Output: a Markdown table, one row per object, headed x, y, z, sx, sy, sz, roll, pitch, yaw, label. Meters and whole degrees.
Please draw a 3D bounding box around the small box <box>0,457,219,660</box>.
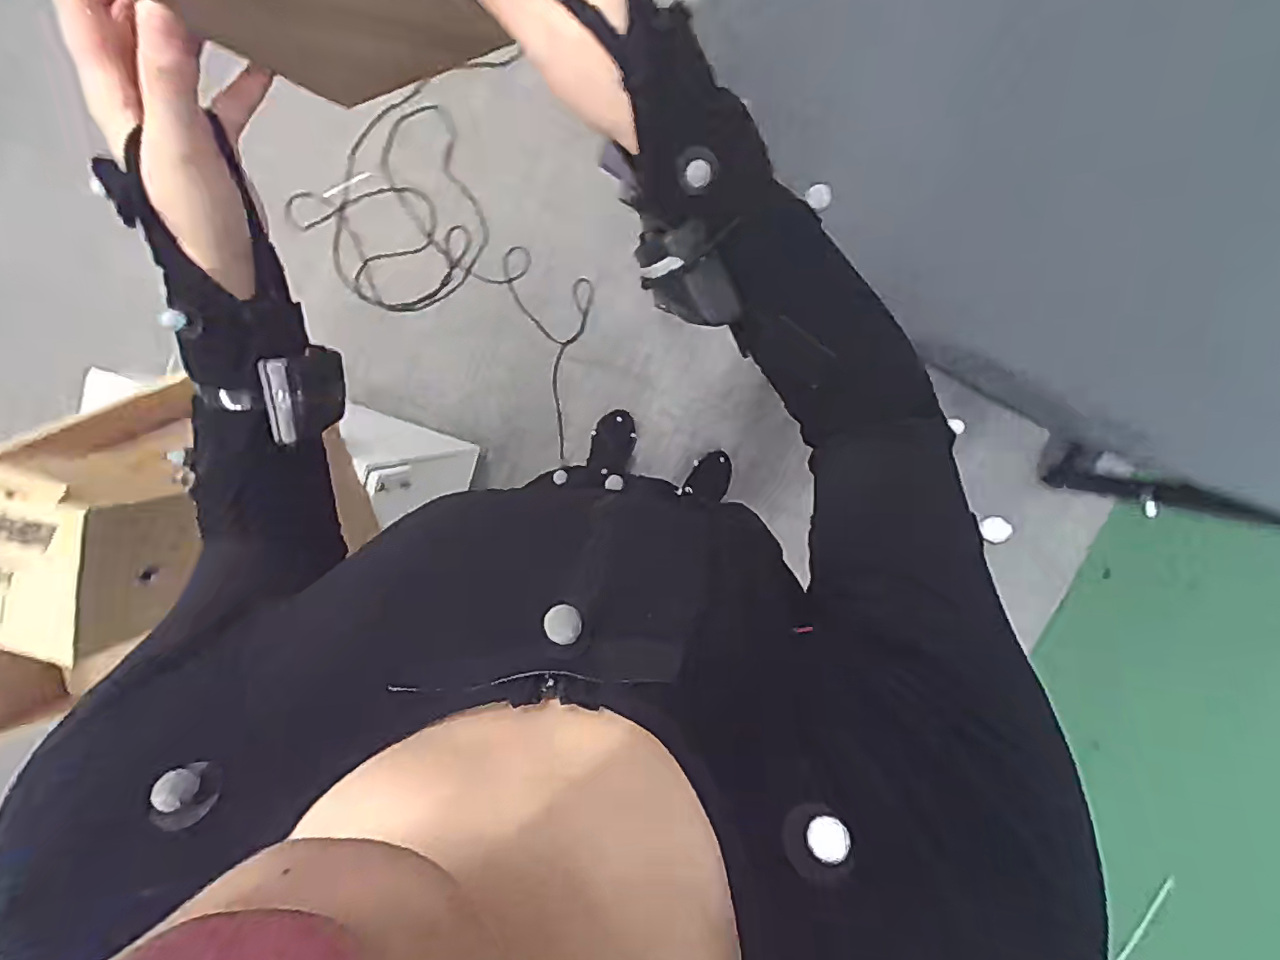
| x | y | z | sx | sy | sz | roll | pitch | yaw | label |
| --- | --- | --- | --- | --- | --- | --- | --- | --- | --- |
| -0.649 | 0.079 | 0.645 | 0.168 | 0.176 | 0.179 | 14 | 100 | 3 | small box |
